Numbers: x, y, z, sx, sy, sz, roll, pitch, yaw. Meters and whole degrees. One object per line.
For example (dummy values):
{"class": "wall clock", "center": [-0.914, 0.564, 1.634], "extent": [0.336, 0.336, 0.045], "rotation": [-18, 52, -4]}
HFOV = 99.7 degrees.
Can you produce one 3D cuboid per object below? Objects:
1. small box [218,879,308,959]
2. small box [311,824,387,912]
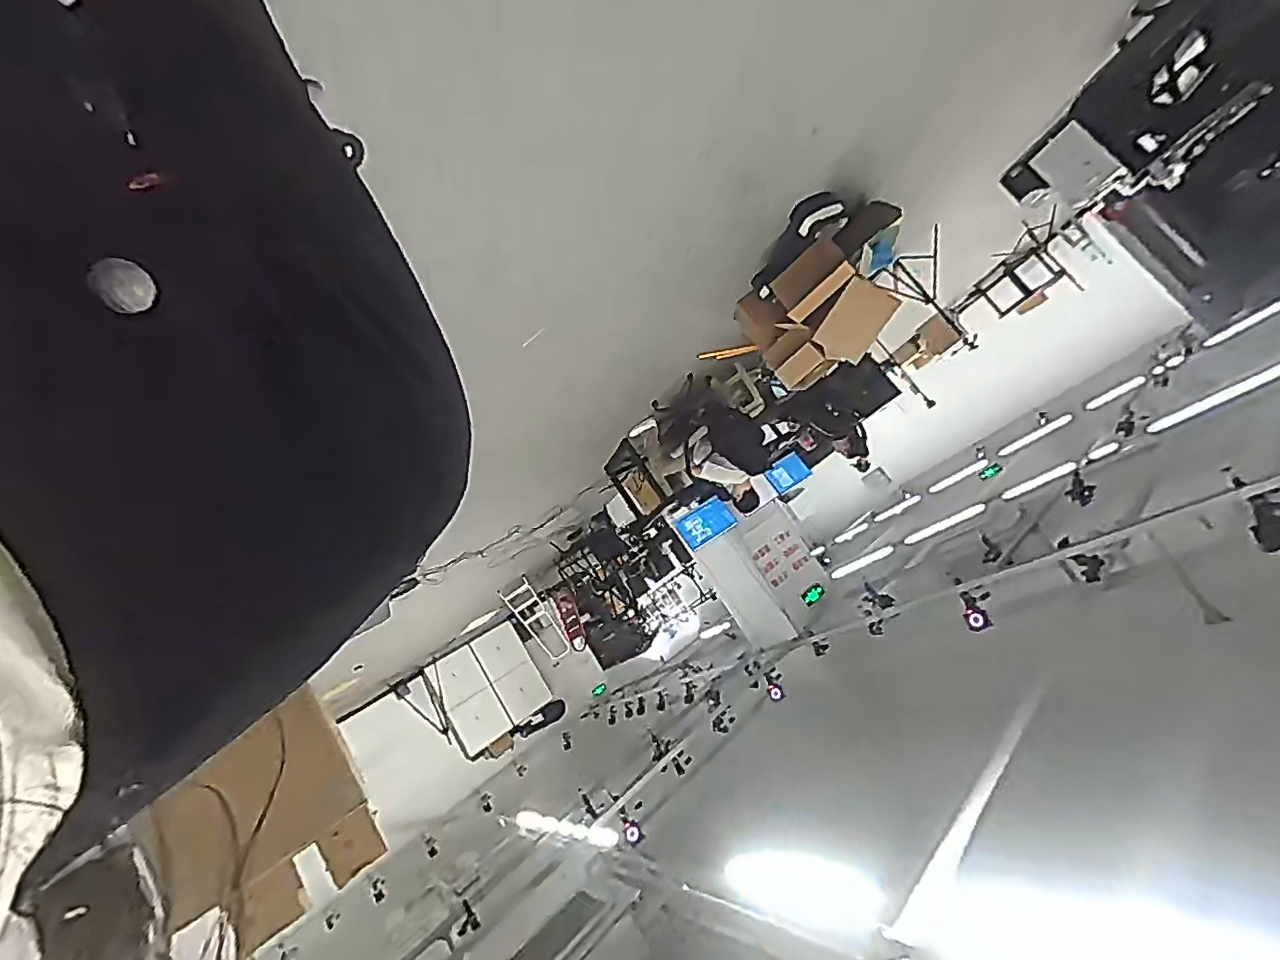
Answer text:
{"class": "small box", "center": [-1.138, 1.355, 1.636], "extent": [0.168, 0.176, 0.179], "rotation": [-25, 164, -33]}
{"class": "small box", "center": [-0.953, 1.262, 1.774], "extent": [0.168, 0.176, 0.179], "rotation": [-27, 163, -34]}
